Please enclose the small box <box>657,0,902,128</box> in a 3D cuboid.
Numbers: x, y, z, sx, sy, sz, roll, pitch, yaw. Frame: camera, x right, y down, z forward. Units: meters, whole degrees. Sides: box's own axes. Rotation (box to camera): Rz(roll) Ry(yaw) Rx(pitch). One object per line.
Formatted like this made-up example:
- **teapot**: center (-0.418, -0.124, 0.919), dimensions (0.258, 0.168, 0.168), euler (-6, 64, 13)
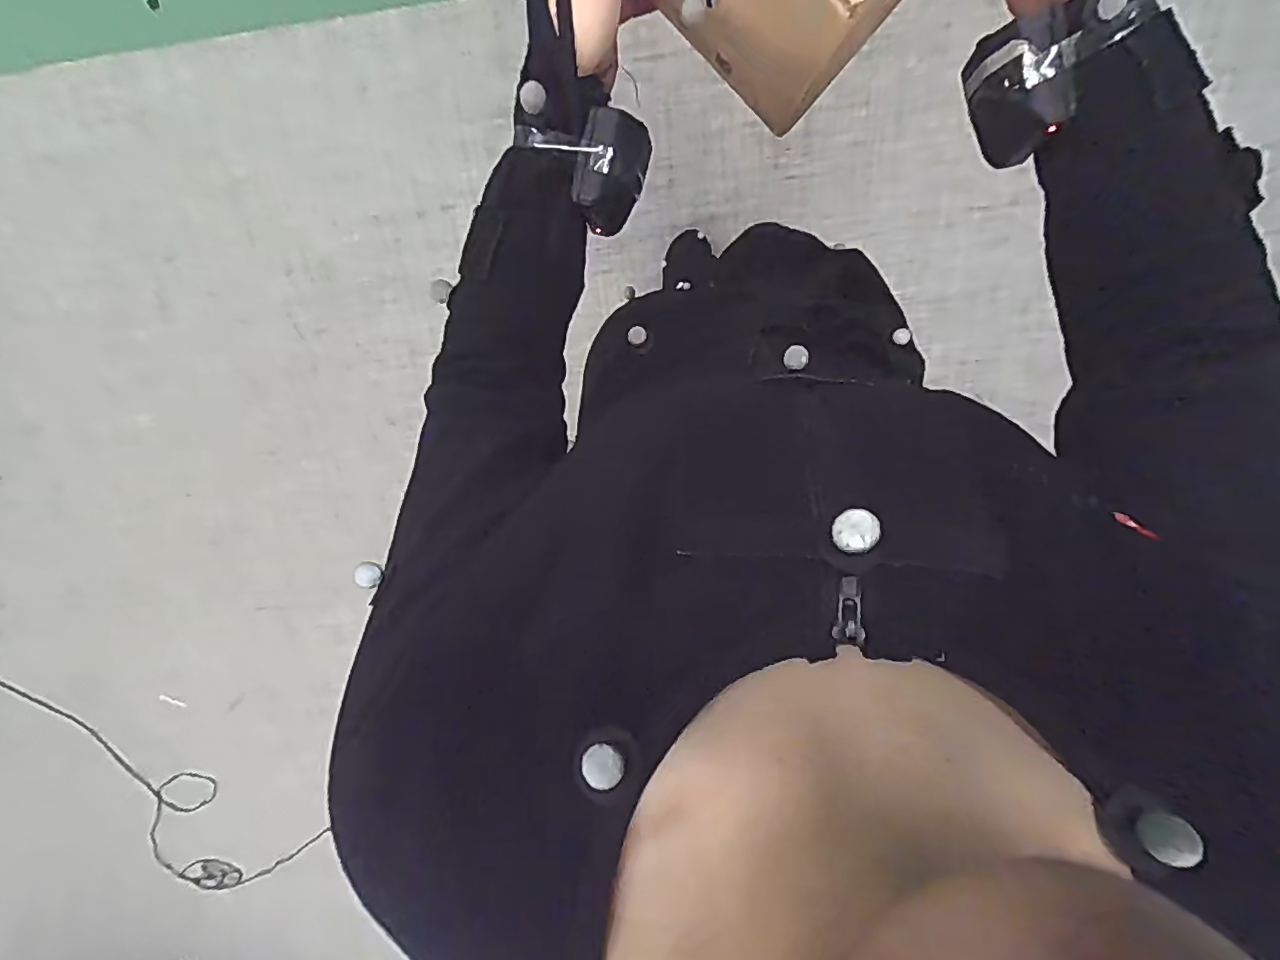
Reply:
- **small box**: center (0.095, -0.341, 0.294), dimensions (0.168, 0.176, 0.179), euler (42, 106, -8)
